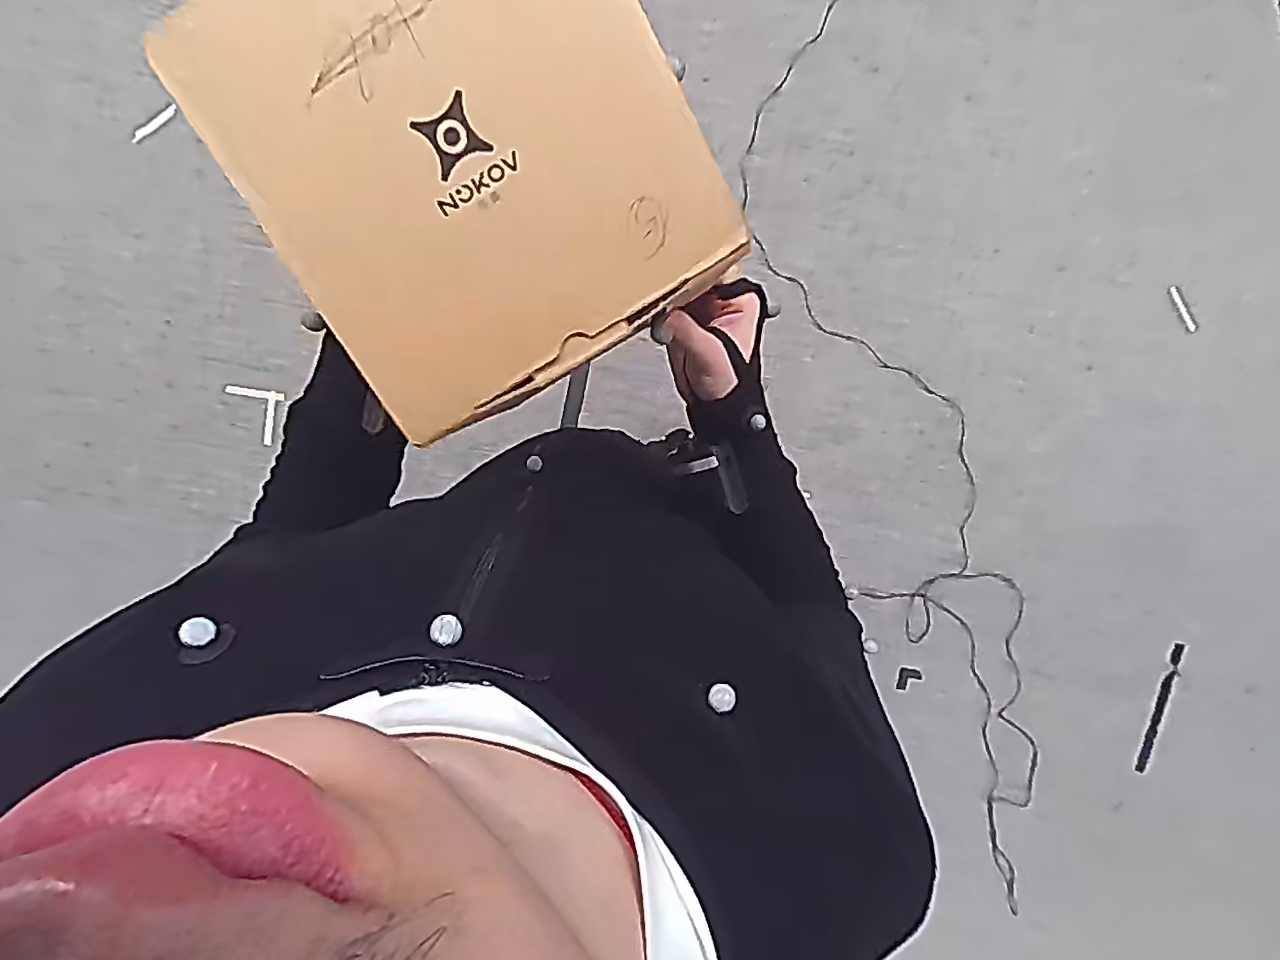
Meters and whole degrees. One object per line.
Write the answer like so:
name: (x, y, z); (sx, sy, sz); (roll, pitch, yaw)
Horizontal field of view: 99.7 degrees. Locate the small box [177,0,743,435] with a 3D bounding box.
small box: (-0.067, -0.150, 0.294); (0.168, 0.176, 0.179); (-31, 102, 6)
